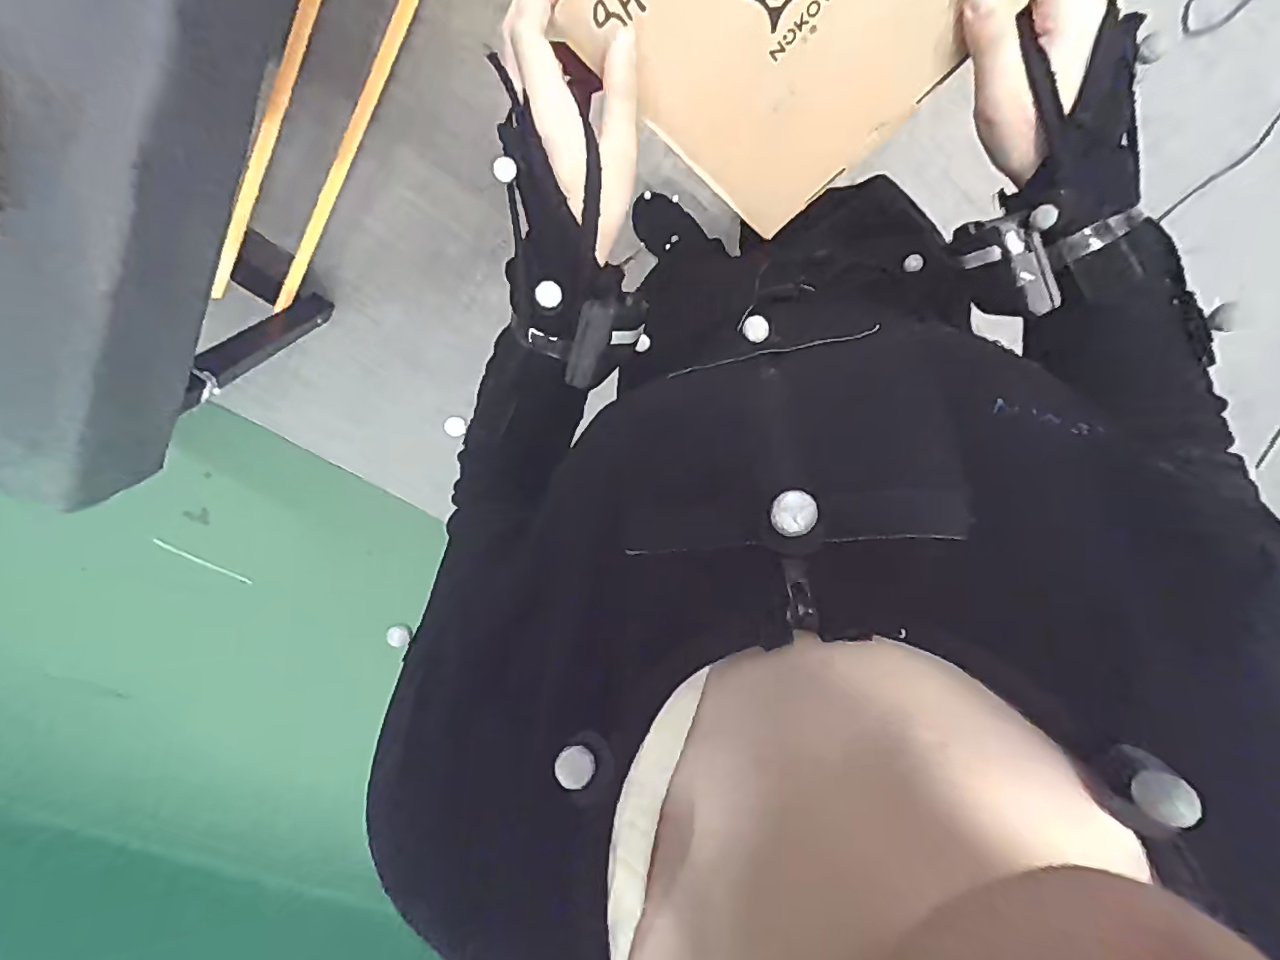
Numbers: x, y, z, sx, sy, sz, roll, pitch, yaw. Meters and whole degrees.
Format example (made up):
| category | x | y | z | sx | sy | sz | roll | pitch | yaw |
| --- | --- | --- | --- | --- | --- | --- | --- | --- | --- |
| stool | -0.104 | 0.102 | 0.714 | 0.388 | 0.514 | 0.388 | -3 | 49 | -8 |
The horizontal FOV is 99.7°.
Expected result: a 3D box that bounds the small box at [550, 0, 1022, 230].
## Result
| category | x | y | z | sx | sy | sz | roll | pitch | yaw |
| --- | --- | --- | --- | --- | --- | --- | --- | --- | --- |
| small box | 0.074 | -0.299 | 0.314 | 0.179 | 0.176 | 0.168 | 29 | 135 | -31 |
